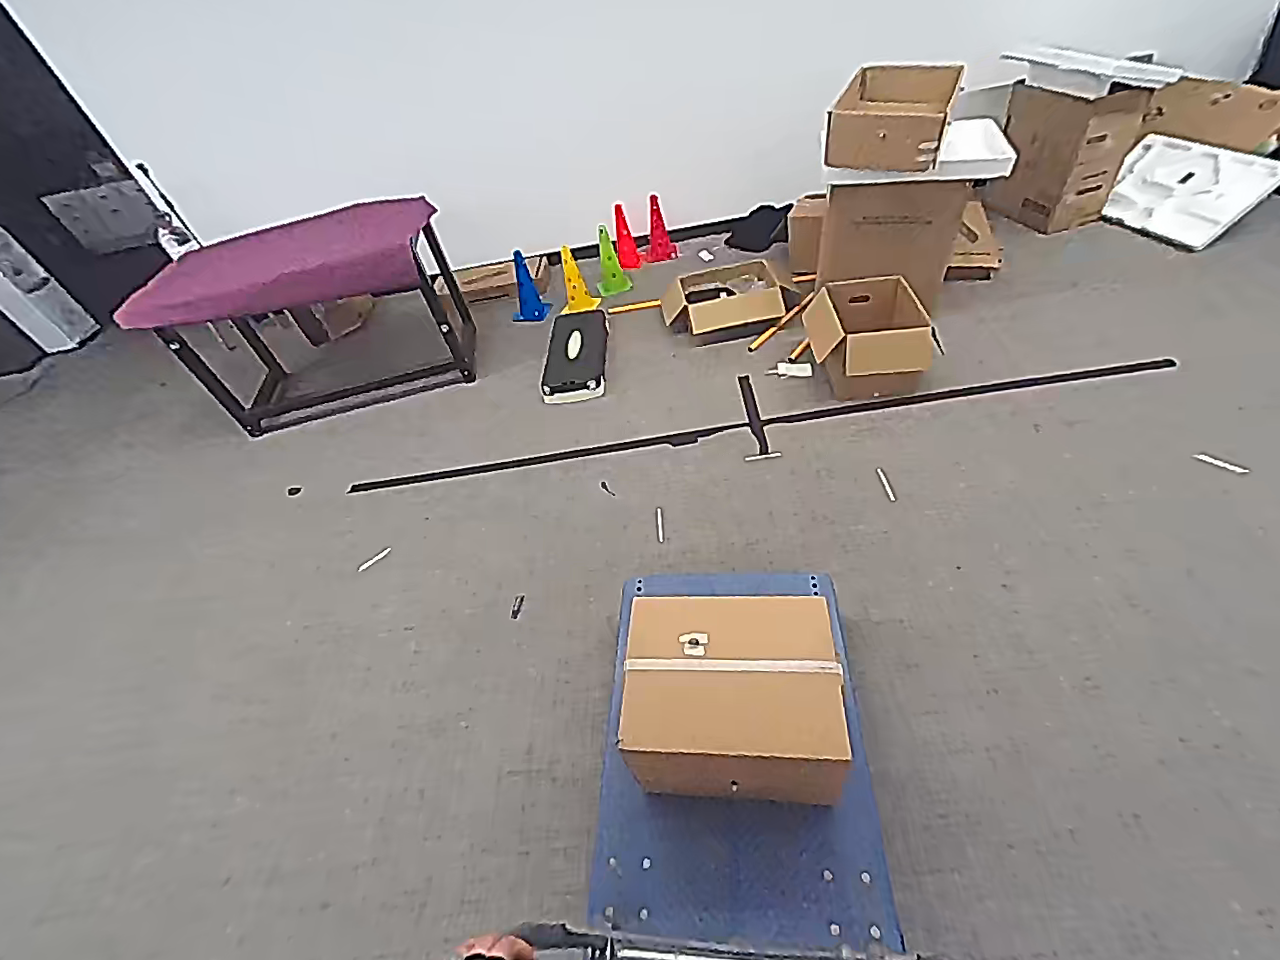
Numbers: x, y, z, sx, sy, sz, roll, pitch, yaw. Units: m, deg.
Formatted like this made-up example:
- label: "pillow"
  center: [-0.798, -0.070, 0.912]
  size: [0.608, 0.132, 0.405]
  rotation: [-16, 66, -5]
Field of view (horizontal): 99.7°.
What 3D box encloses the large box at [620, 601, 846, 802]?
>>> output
- label: "large box"
  center: [0.195, 0.479, 1.159]
  size: [0.408, 0.320, 0.320]
  rotation: [-4, 45, 11]
